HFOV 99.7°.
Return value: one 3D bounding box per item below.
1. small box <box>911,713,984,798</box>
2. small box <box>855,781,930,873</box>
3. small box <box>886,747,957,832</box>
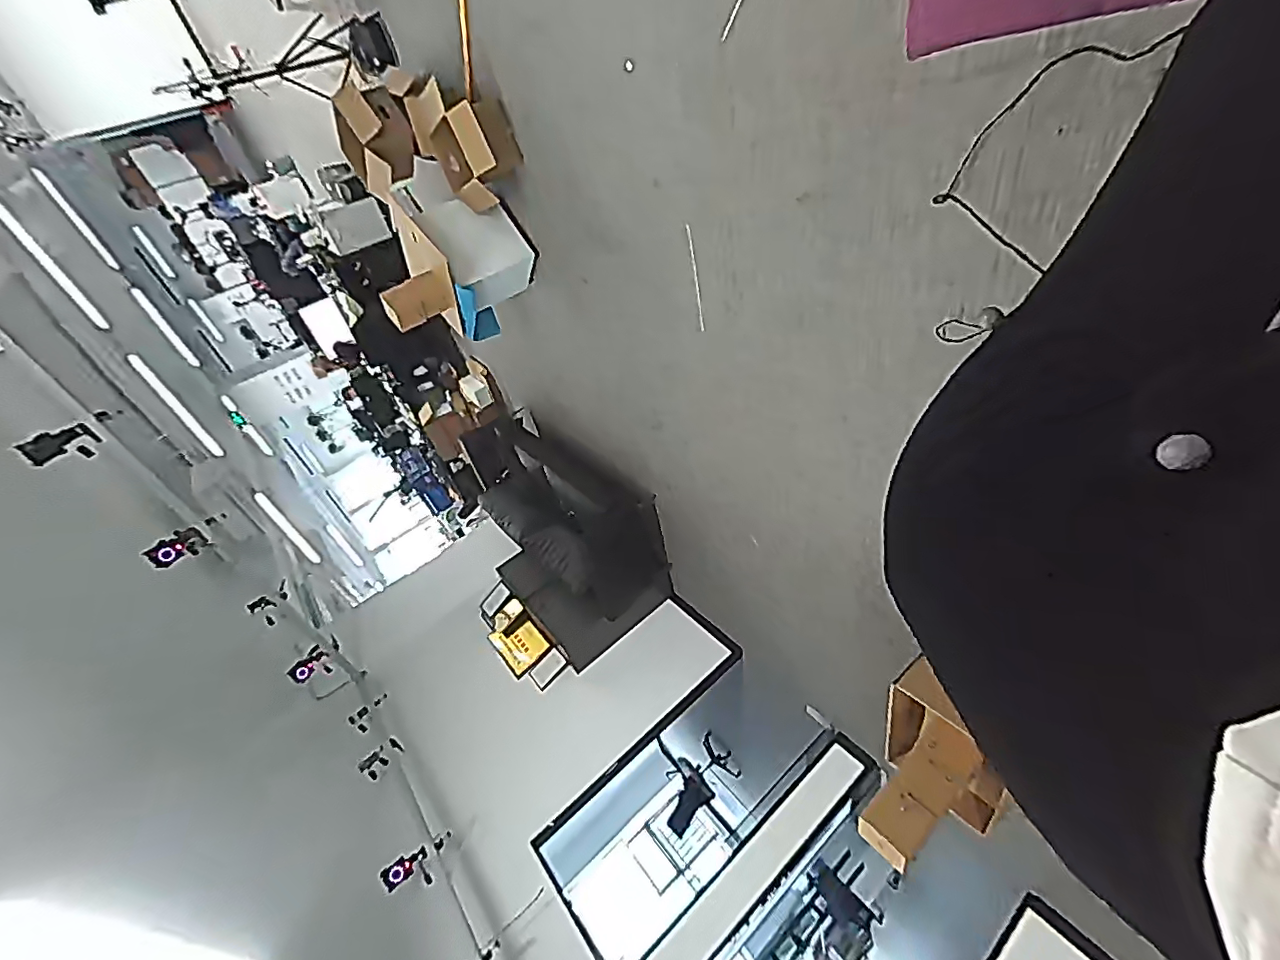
[{"bbox_3d":[1.090,0.976,1.925,0.179,0.176,0.168,32,150,44],"label":"small box"},{"bbox_3d":[0.842,1.156,1.806,0.168,0.176,0.179,32,149,43],"label":"small box"},{"bbox_3d":[0.966,1.068,1.869,0.168,0.176,0.179,34,151,42],"label":"small box"}]
